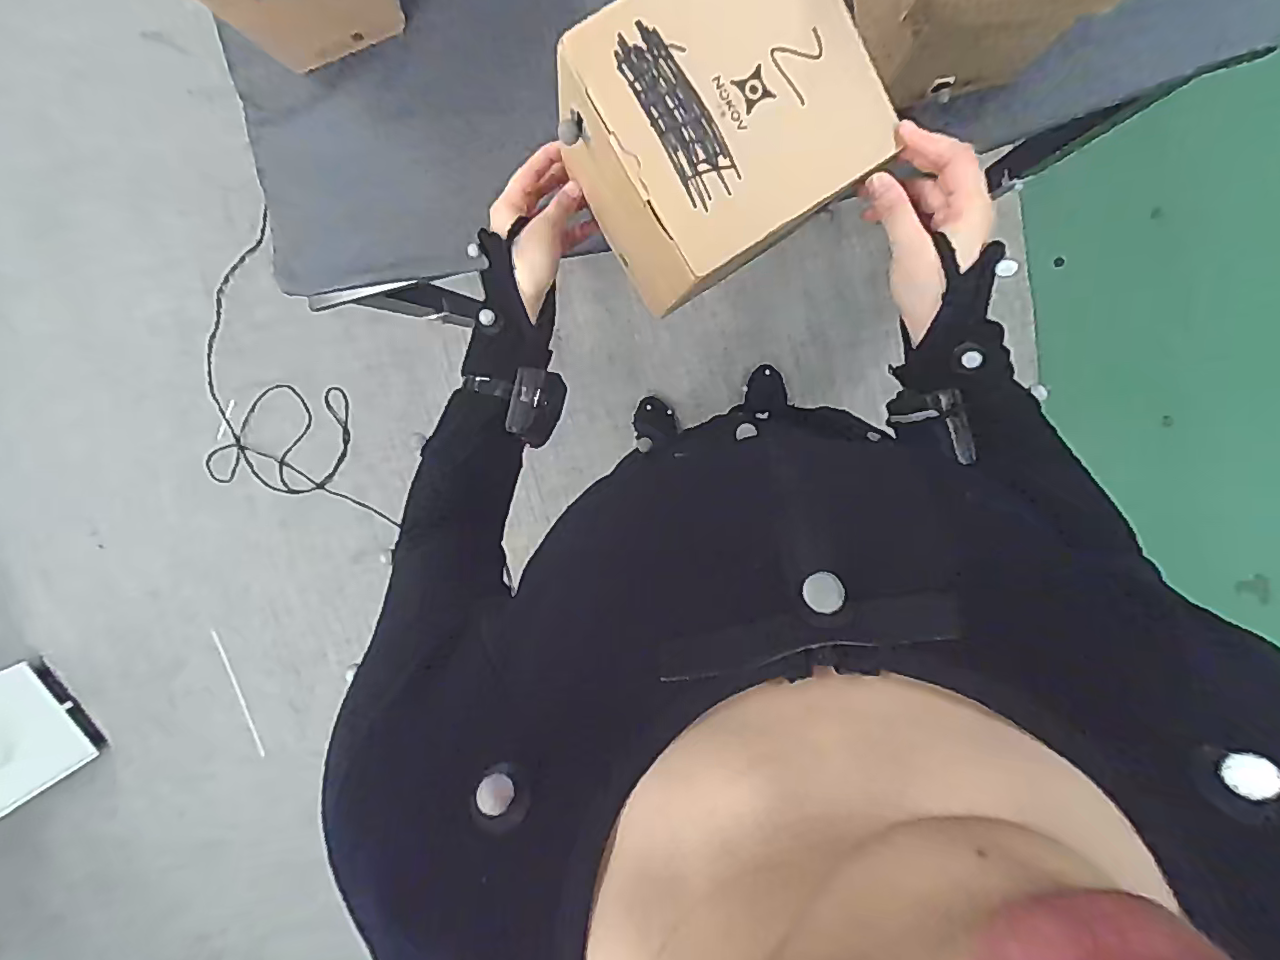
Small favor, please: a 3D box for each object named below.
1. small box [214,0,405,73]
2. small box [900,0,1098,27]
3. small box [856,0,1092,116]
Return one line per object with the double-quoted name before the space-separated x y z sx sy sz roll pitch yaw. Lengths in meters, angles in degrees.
"small box" -0.400 -0.614 0.604 0.168 0.176 0.179 -15 99 8
"small box" 0.311 -0.472 0.386 0.179 0.176 0.168 1 100 8
"small box" 0.326 -0.515 0.543 0.168 0.176 0.179 -10 99 9
